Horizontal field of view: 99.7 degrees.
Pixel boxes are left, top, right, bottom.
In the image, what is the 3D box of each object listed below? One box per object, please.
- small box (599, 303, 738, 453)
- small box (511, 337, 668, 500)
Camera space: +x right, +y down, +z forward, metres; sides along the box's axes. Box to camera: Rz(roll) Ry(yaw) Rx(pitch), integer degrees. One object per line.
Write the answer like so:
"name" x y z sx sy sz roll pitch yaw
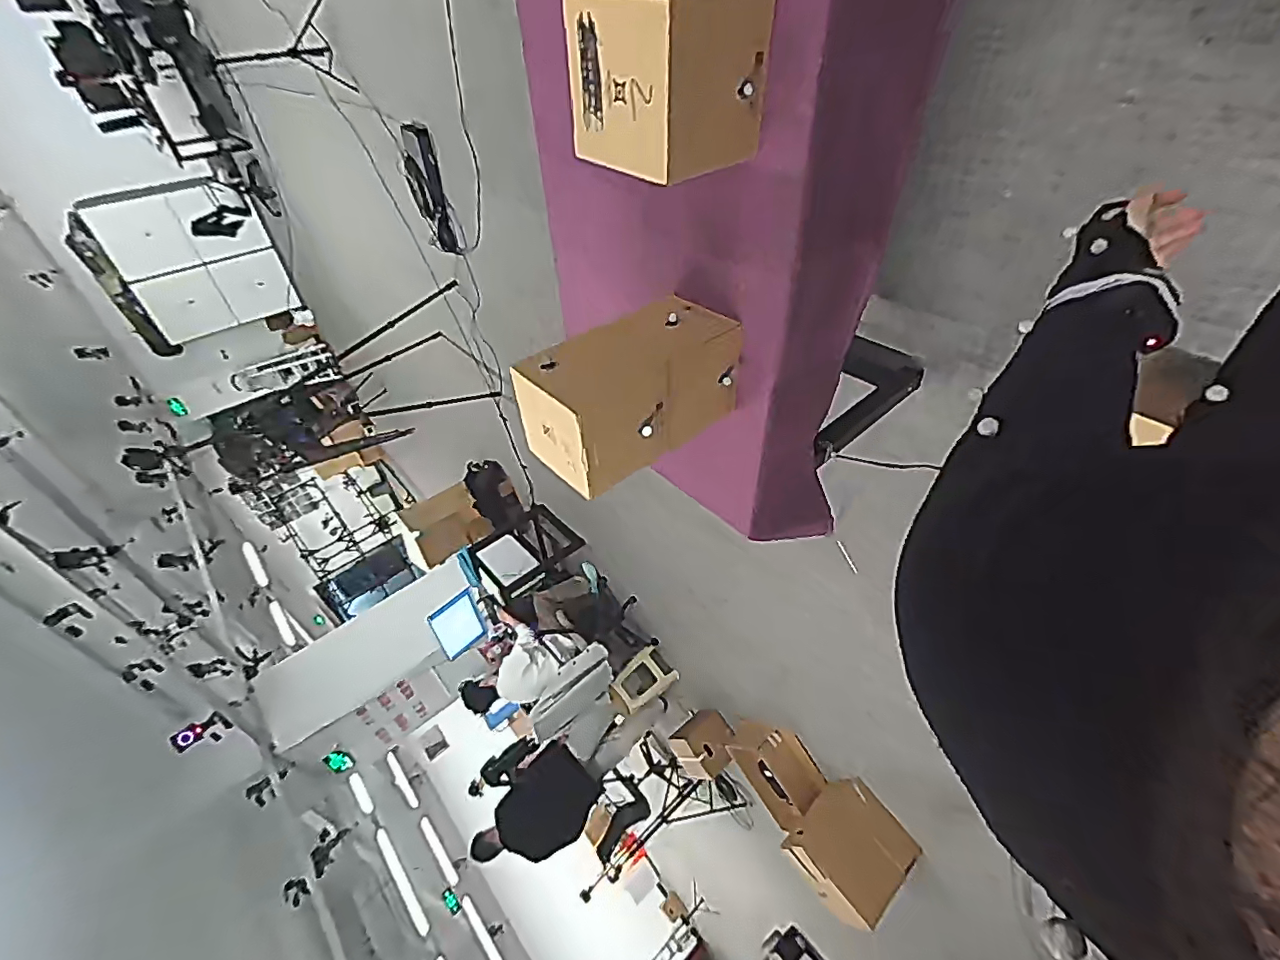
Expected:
"small box" 0.051 -0.183 0.931 0.168 0.176 0.179 36 144 35
"small box" -0.075 -0.107 0.856 0.179 0.176 0.168 36 146 33
